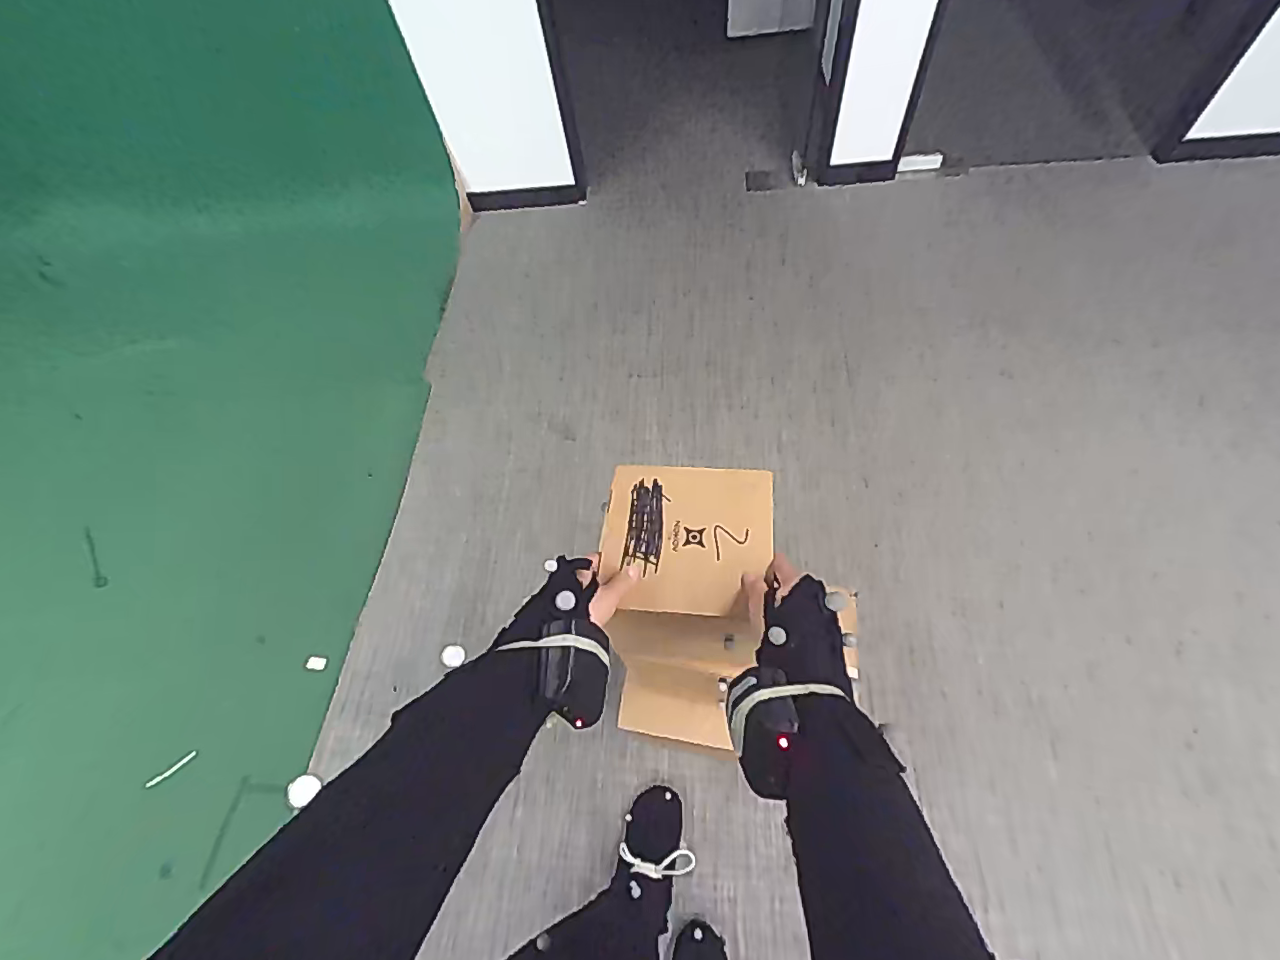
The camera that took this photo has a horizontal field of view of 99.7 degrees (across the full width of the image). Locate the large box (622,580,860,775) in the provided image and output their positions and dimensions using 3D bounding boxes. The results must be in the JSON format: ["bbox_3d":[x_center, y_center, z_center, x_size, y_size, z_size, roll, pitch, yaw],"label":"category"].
[{"bbox_3d":[0.195,0.395,1.104,0.408,0.320,0.320,6,62,9],"label":"large box"}]

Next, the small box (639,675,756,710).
[{"bbox_3d":[0.102,0.276,0.902,0.179,0.176,0.168,5,59,11],"label":"small box"}]

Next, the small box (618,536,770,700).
[{"bbox_3d":[0.079,0.198,0.761,0.179,0.176,0.168,8,60,10],"label":"small box"}]
